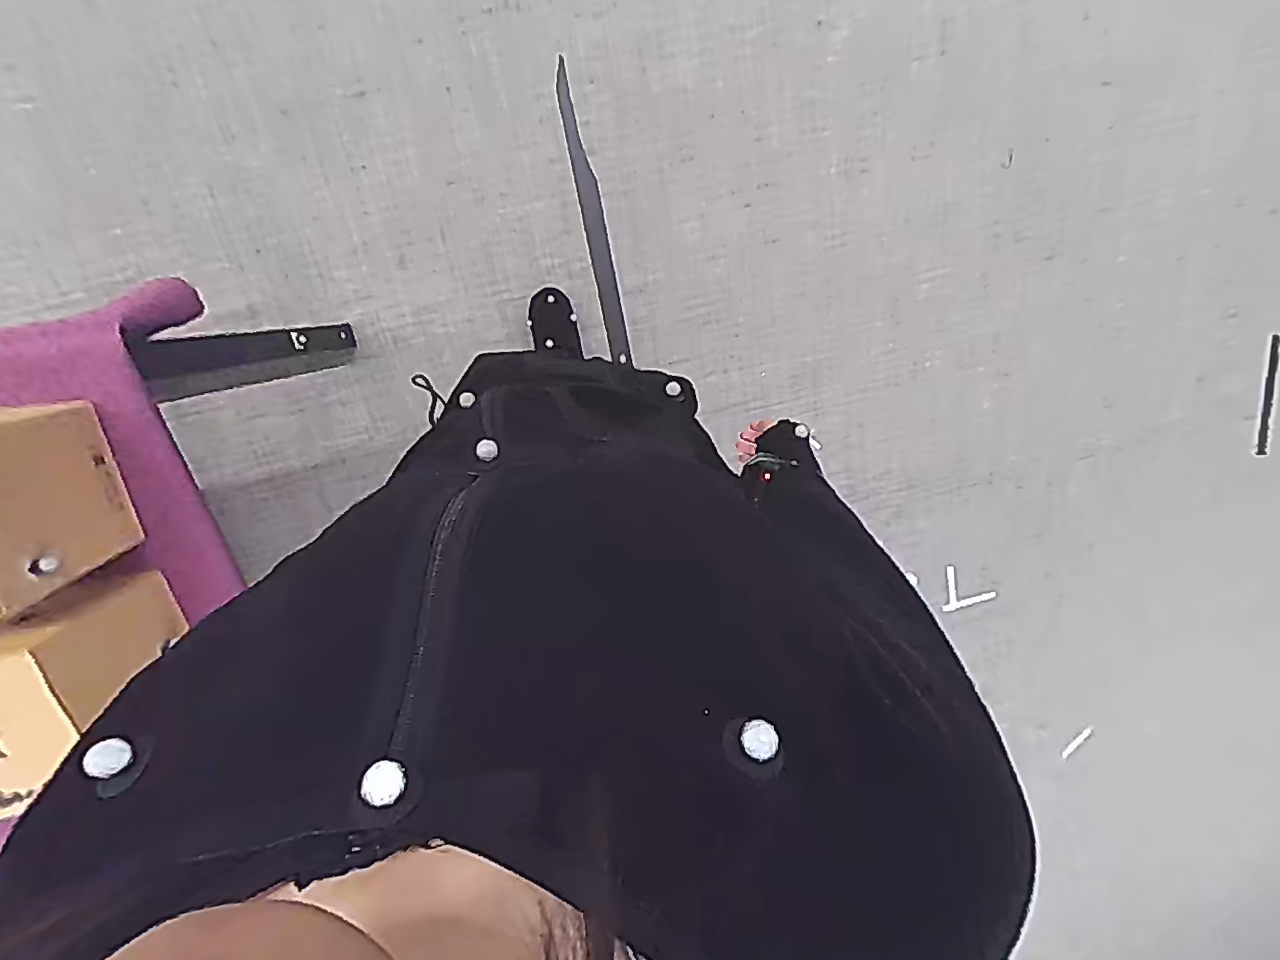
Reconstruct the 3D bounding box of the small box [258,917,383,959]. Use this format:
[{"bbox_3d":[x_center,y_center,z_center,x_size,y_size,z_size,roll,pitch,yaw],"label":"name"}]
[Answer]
[{"bbox_3d":[-0.487,0.800,0.795,0.168,0.176,0.179,-14,108,-2],"label":"small box"}]
